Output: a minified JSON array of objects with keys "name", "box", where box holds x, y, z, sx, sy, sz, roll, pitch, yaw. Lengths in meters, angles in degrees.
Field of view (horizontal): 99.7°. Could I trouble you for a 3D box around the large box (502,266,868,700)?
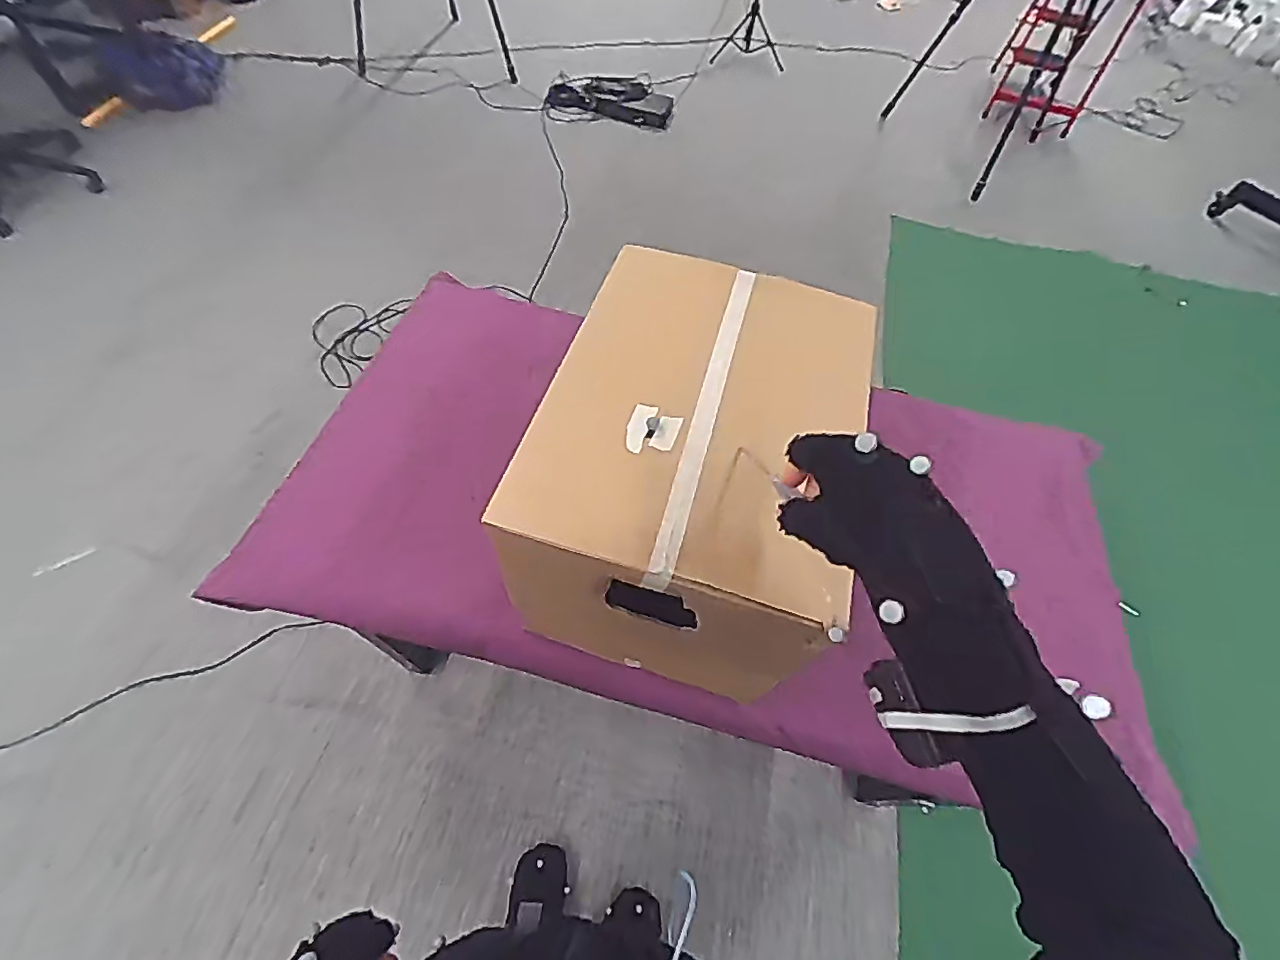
[{"name":"large box","box":[0.063,0.010,0.689,0.320,0.320,0.408,16,59,5]}]
